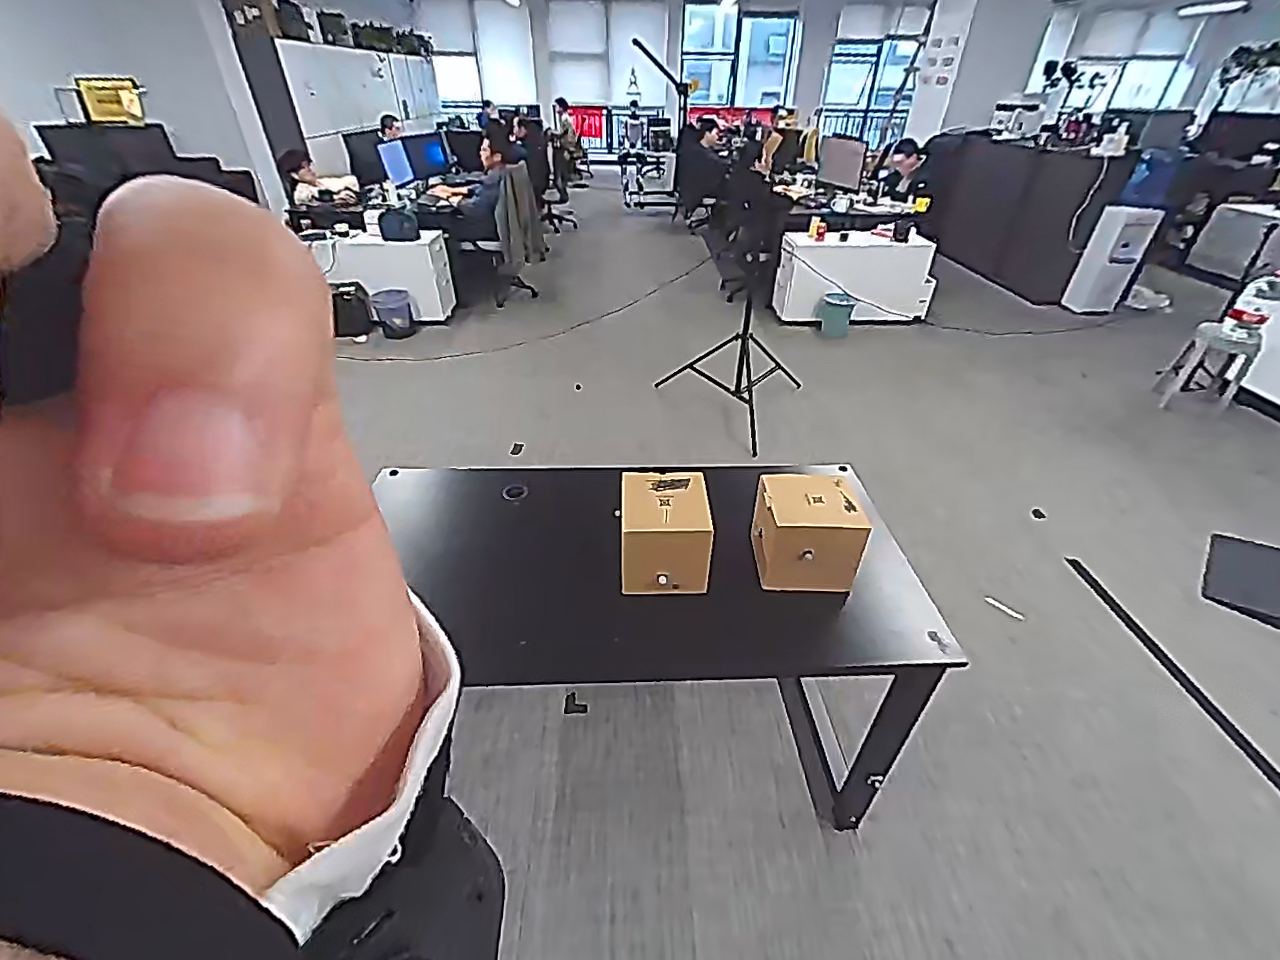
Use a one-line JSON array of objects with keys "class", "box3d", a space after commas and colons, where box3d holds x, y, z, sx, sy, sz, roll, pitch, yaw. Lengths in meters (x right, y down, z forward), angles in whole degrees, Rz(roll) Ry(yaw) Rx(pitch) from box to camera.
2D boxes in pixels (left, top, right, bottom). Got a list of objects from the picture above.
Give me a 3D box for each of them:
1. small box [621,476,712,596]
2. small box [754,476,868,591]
[{"class": "small box", "box3d": [0.046, 0.108, 1.075, 0.168, 0.176, 0.179, -1, 37, -1]}, {"class": "small box", "box3d": [0.327, 0.107, 1.079, 0.179, 0.176, 0.168, 0, 36, 1]}]
